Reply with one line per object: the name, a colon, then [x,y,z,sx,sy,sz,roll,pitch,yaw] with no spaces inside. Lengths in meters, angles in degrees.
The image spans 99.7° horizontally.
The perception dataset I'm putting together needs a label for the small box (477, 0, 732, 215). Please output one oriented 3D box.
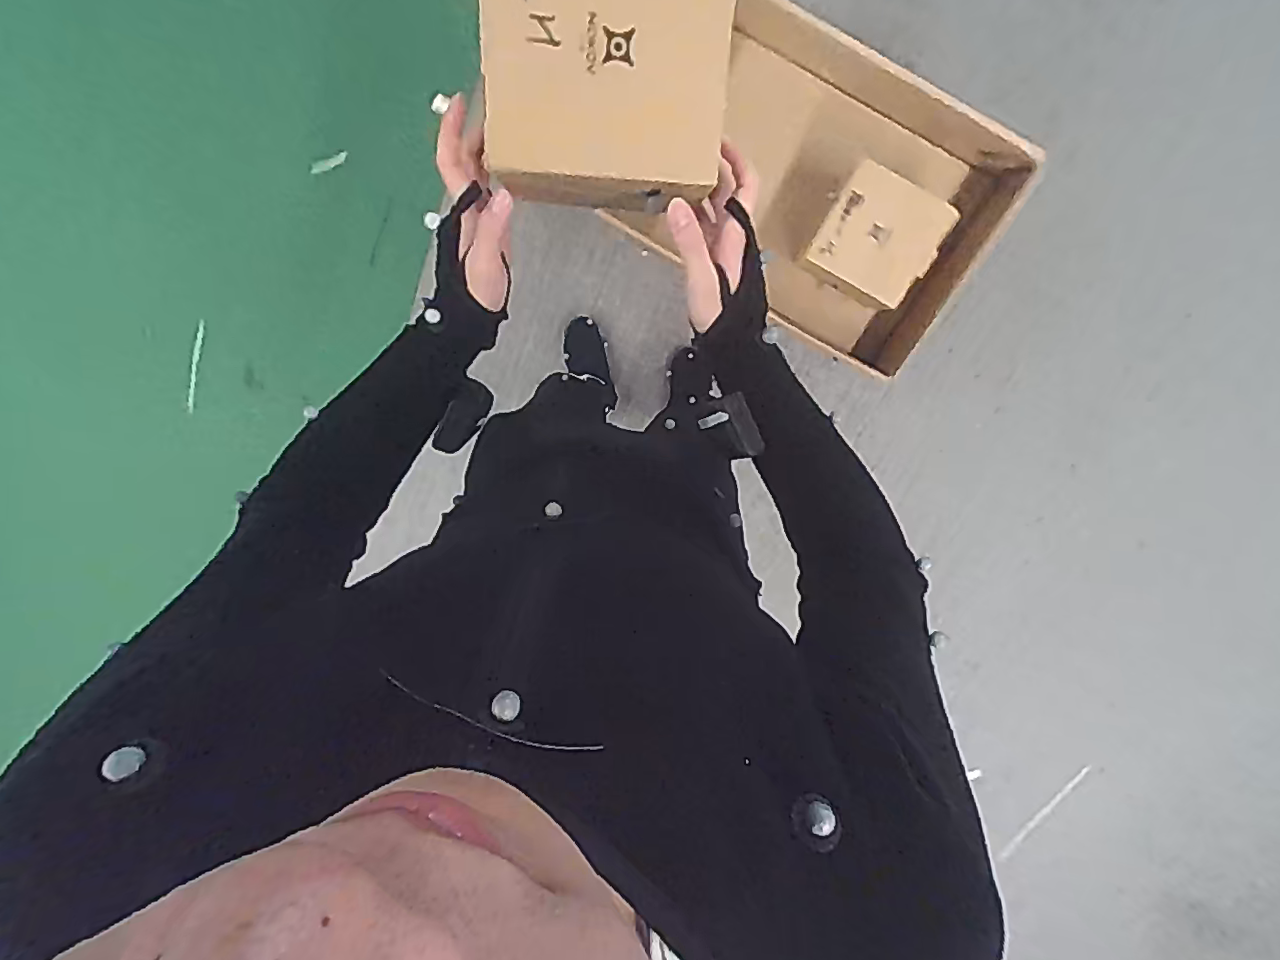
small box: [-0.028,-0.325,0.452,0.179,0.176,0.168,2,109,-2]
